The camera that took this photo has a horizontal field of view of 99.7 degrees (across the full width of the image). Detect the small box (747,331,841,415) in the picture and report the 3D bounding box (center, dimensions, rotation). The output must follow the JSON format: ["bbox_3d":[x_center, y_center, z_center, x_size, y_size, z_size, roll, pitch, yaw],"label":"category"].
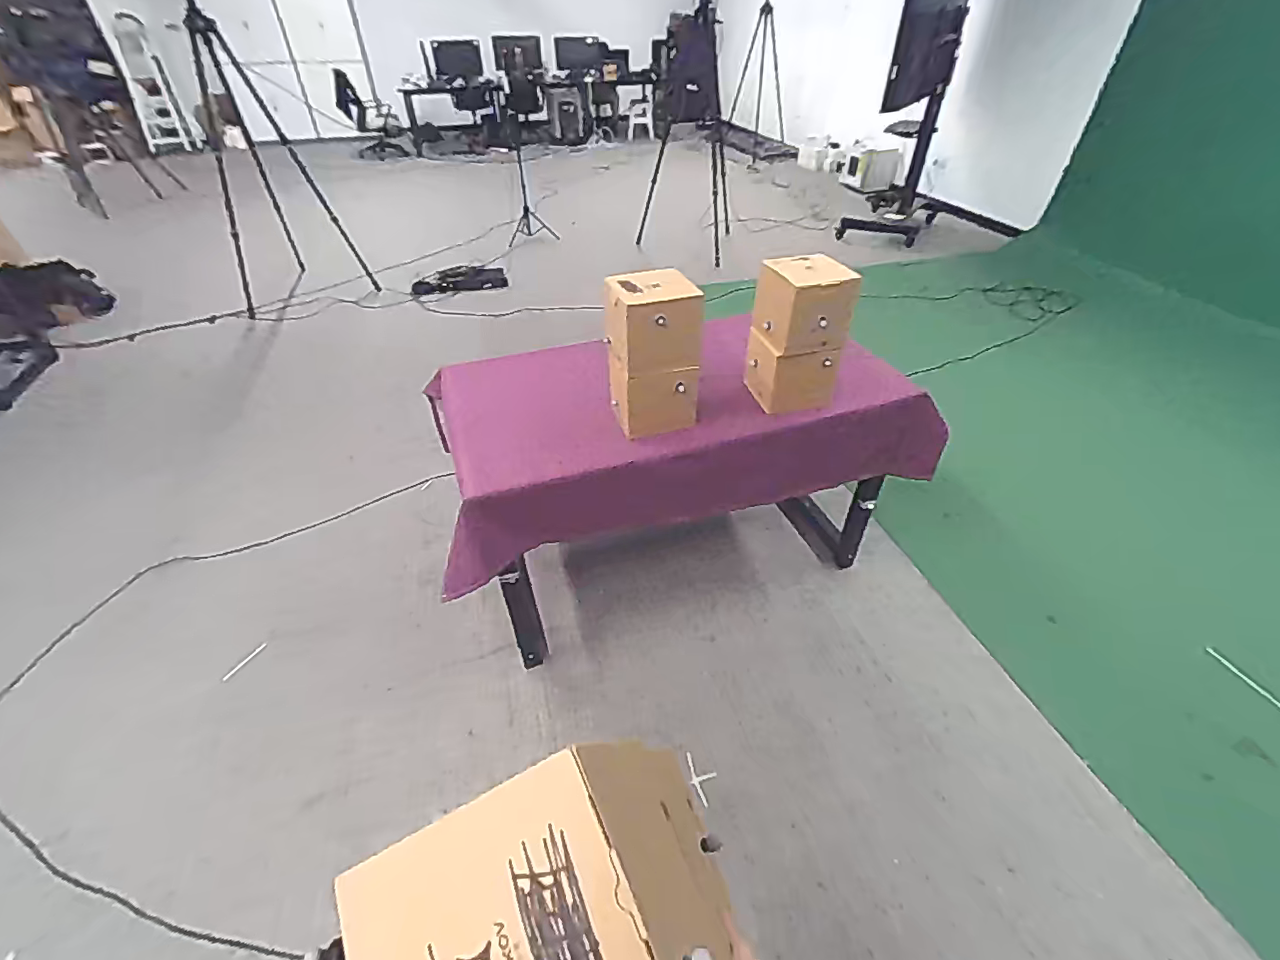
[{"bbox_3d":[0.383,-0.280,1.389,0.179,0.176,0.168,-8,41,-9],"label":"small box"}]

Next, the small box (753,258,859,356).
[{"bbox_3d":[0.384,-0.405,1.283,0.168,0.176,0.179,-11,42,-12],"label":"small box"}]

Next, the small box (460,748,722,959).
[{"bbox_3d":[-0.038,0.376,0.516,0.179,0.176,0.168,-26,62,2],"label":"small box"}]

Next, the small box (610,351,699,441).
[{"bbox_3d":[0.030,-0.216,1.319,0.179,0.176,0.168,-11,41,-12],"label":"small box"}]

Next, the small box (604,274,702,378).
[{"bbox_3d":[0.027,-0.345,1.216,0.179,0.176,0.168,-13,42,-15],"label":"small box"}]
